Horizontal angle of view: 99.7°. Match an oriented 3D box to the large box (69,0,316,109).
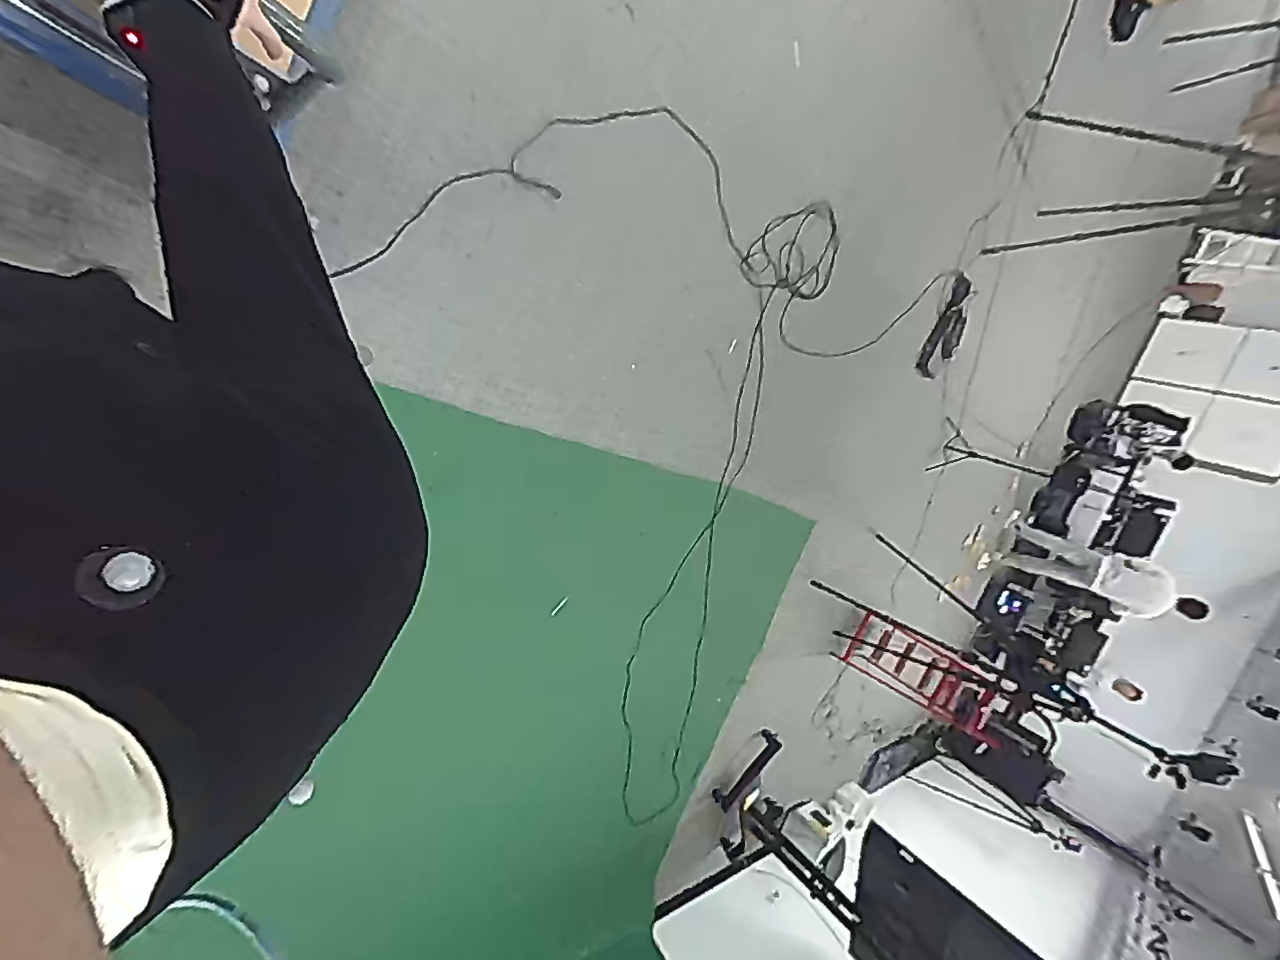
[{"bbox_3d":[-0.674,-0.882,0.822,0.320,0.320,0.408,18,96,-46],"label":"large box"}]
